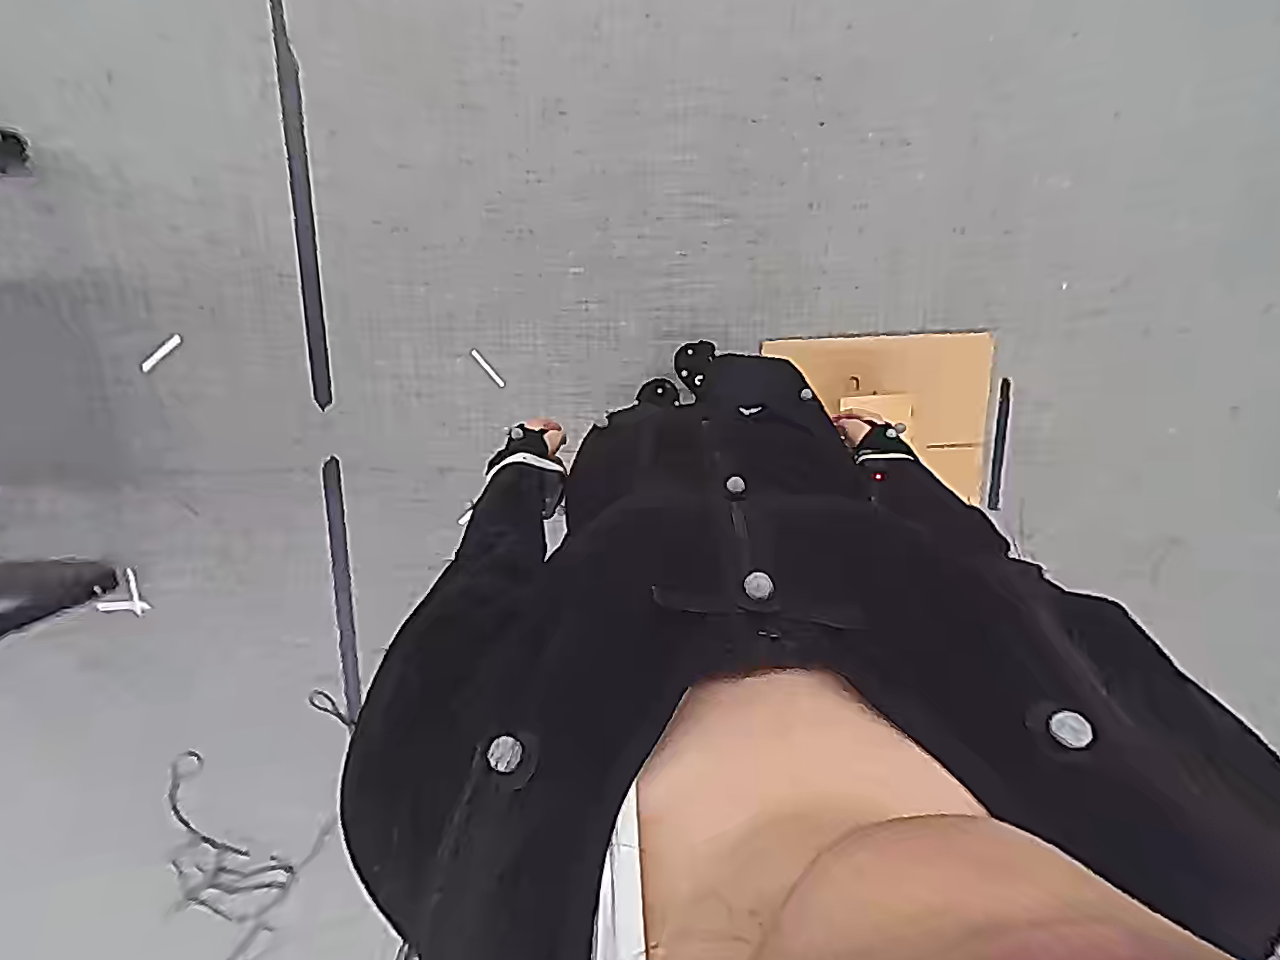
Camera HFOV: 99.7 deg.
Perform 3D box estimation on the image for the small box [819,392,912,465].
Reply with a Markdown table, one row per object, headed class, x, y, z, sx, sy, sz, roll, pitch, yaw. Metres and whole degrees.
| class | x | y | z | sx | sy | sz | roll | pitch | yaw |
| --- | --- | --- | --- | --- | --- | --- | --- | --- | --- |
| small box | 0.564 | -0.134 | 1.376 | 0.179 | 0.176 | 0.168 | -4 | 102 | 1 |
